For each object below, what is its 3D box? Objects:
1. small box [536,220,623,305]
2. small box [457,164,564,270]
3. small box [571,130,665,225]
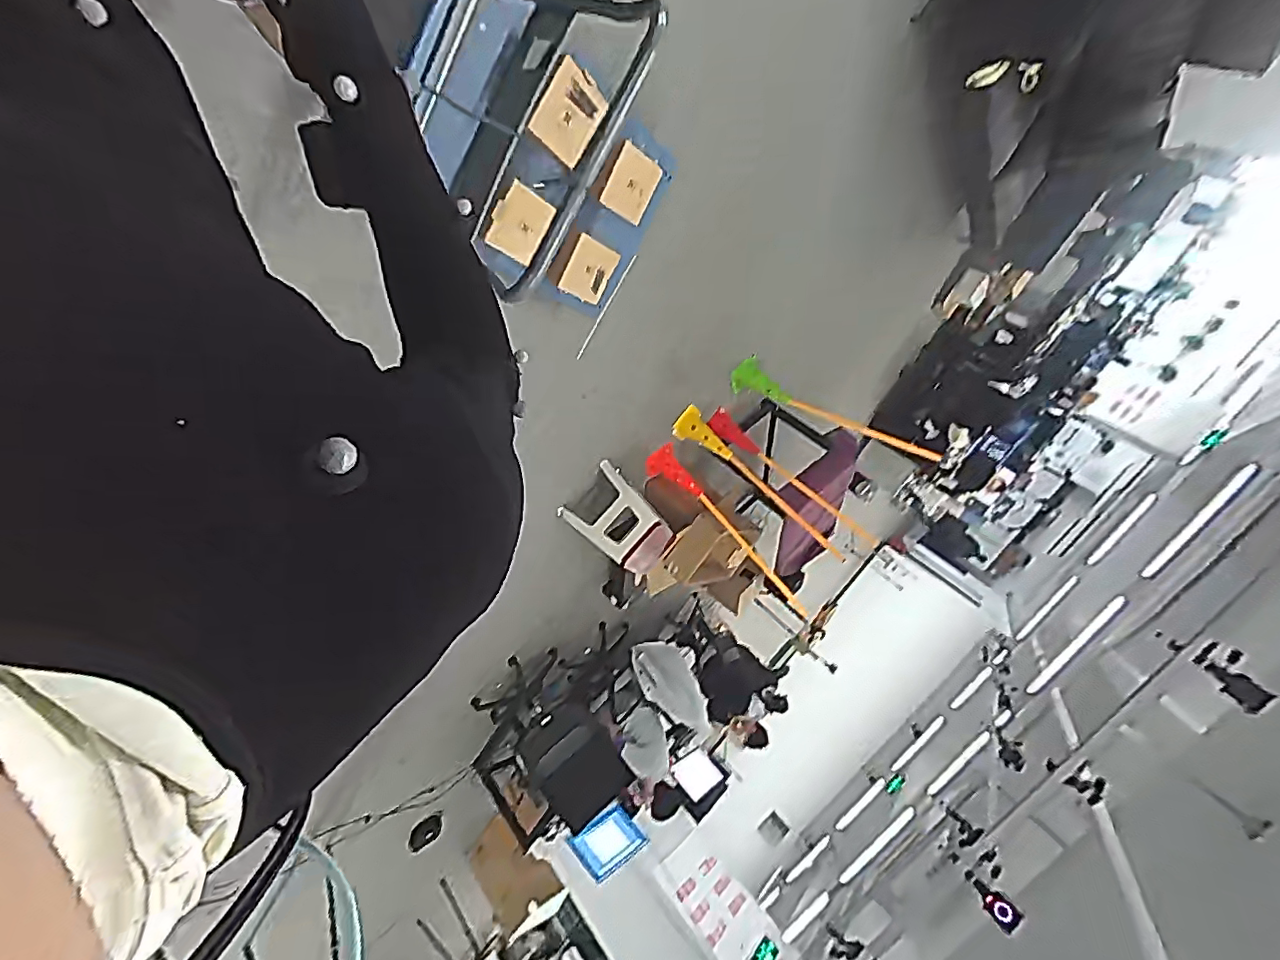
[{"bbox_3d":[-0.192,-0.662,1.632,0.179,0.176,0.168,6,120,-53],"label":"small box"},{"bbox_3d":[-0.341,-0.690,1.415,0.179,0.176,0.168,10,117,-55],"label":"small box"},{"bbox_3d":[-0.068,-0.872,1.552,0.179,0.176,0.168,2,124,-53],"label":"small box"}]
